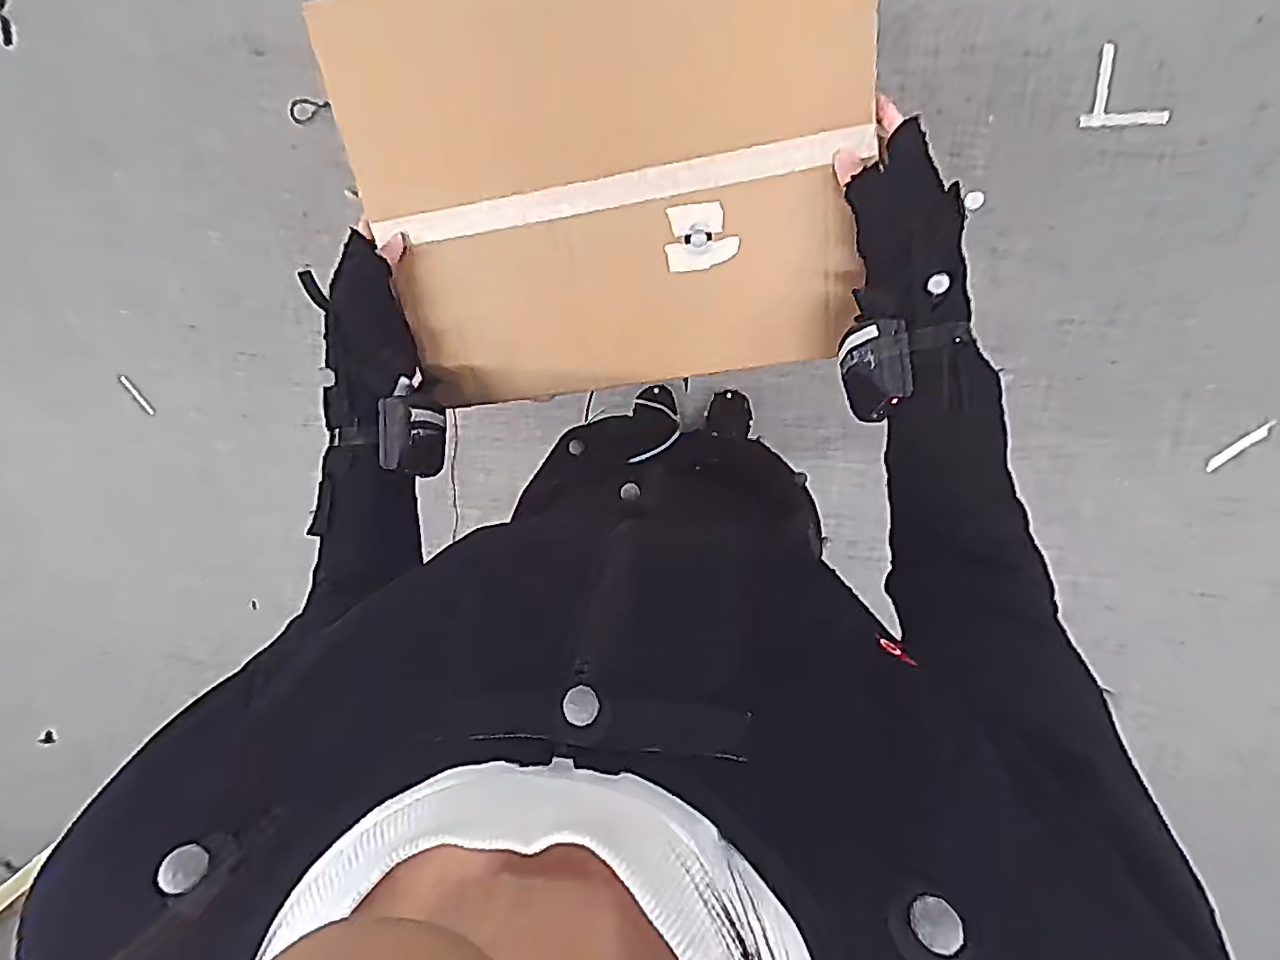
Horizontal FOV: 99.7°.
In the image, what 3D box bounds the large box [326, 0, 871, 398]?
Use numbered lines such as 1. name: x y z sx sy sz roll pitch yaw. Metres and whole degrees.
1. large box: -0.011 -0.302 0.573 0.408 0.320 0.320 -7 114 7
